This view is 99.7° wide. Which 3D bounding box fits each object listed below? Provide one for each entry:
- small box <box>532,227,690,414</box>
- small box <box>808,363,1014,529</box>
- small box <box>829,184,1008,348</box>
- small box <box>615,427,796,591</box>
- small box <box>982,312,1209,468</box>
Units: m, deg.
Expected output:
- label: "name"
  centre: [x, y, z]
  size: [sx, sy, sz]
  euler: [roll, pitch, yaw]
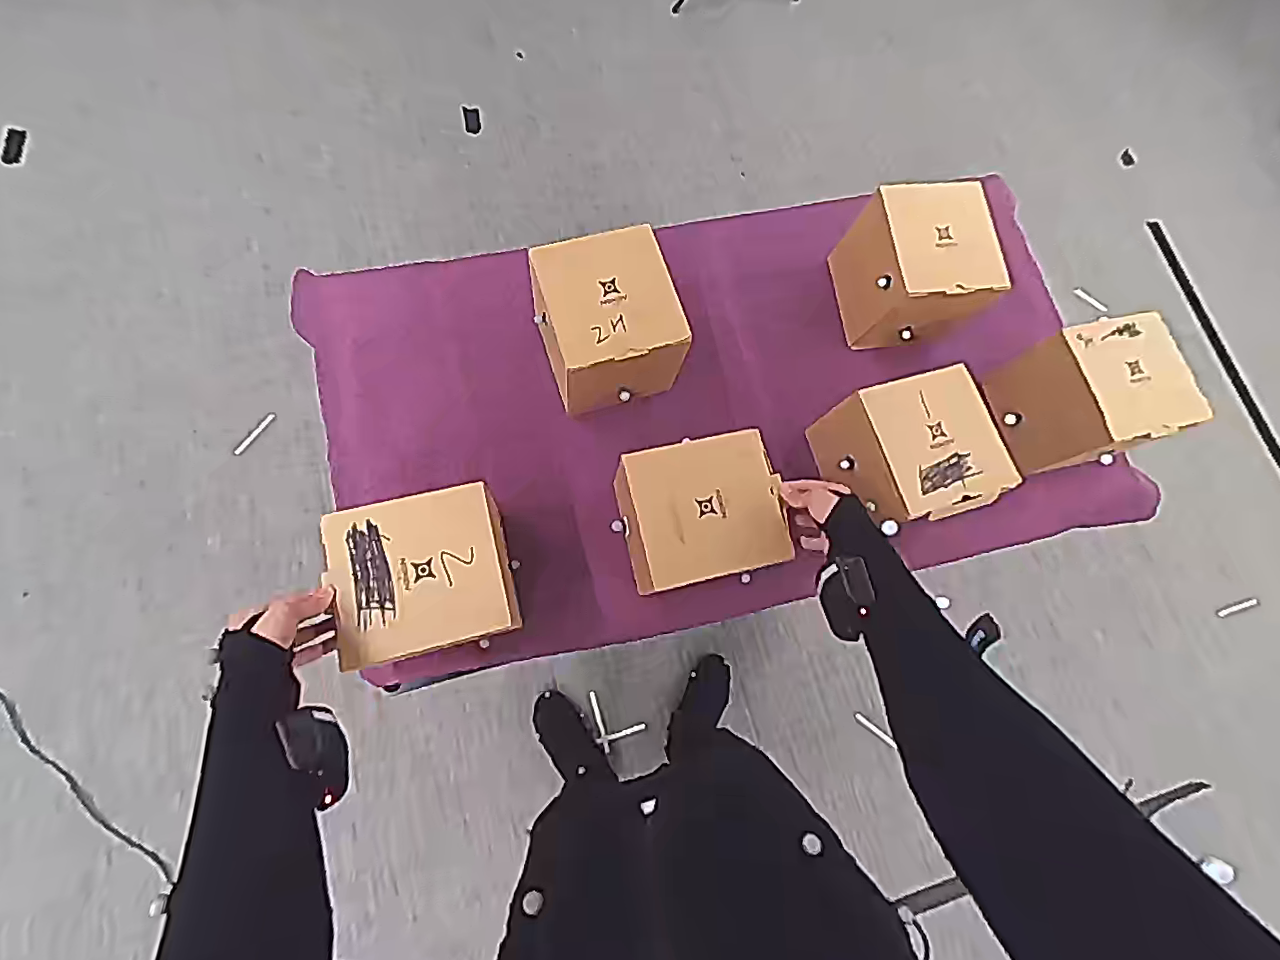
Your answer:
- label: "small box"
  centre: [-0.048, -0.216, 0.763]
  size: [0.168, 0.176, 0.179]
  euler: [-17, 79, -10]
- label: "small box"
  centre: [0.367, -0.036, 0.765]
  size: [0.168, 0.176, 0.179]
  euler: [-15, 77, -10]
- label: "small box"
  centre: [0.420, -0.328, 0.848]
  size: [0.168, 0.176, 0.179]
  euler: [-7, 79, -8]
- label: "small box"
  centre: [0.073, 0.046, 0.710]
  size: [0.179, 0.176, 0.168]
  euler: [-12, 78, -10]
- label: "small box"
  centre: [0.672, -0.125, 0.821]
  size: [0.168, 0.176, 0.179]
  euler: [-11, 76, -9]
